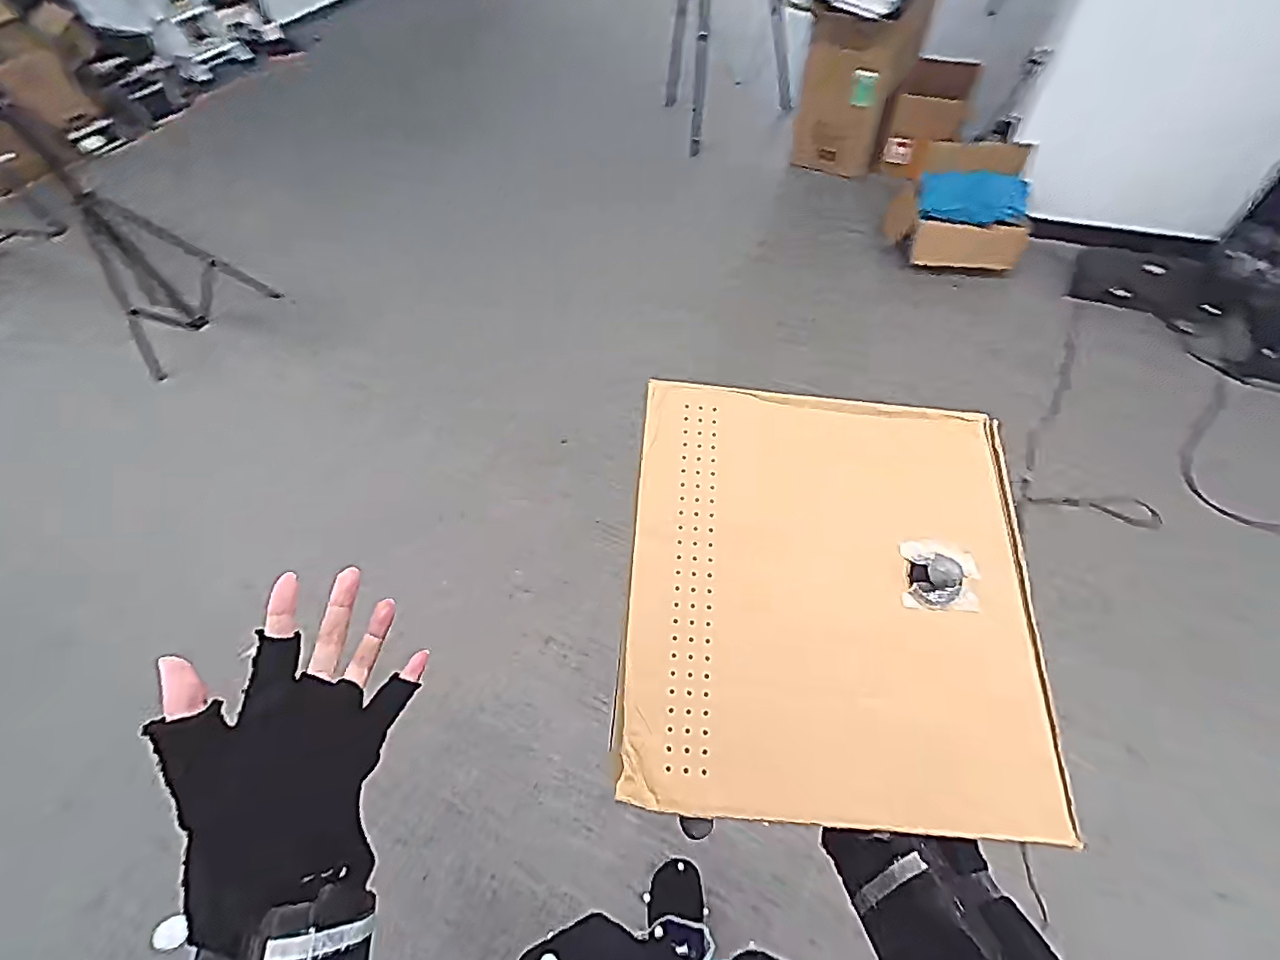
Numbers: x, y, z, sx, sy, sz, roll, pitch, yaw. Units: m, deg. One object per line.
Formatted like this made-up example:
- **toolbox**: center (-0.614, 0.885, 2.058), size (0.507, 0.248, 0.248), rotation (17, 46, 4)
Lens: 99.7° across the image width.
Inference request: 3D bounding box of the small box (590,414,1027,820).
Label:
- **small box**: center (0.064, 0.076, 0.307), size (0.176, 0.168, 0.179), rotation (5, 67, -1)
